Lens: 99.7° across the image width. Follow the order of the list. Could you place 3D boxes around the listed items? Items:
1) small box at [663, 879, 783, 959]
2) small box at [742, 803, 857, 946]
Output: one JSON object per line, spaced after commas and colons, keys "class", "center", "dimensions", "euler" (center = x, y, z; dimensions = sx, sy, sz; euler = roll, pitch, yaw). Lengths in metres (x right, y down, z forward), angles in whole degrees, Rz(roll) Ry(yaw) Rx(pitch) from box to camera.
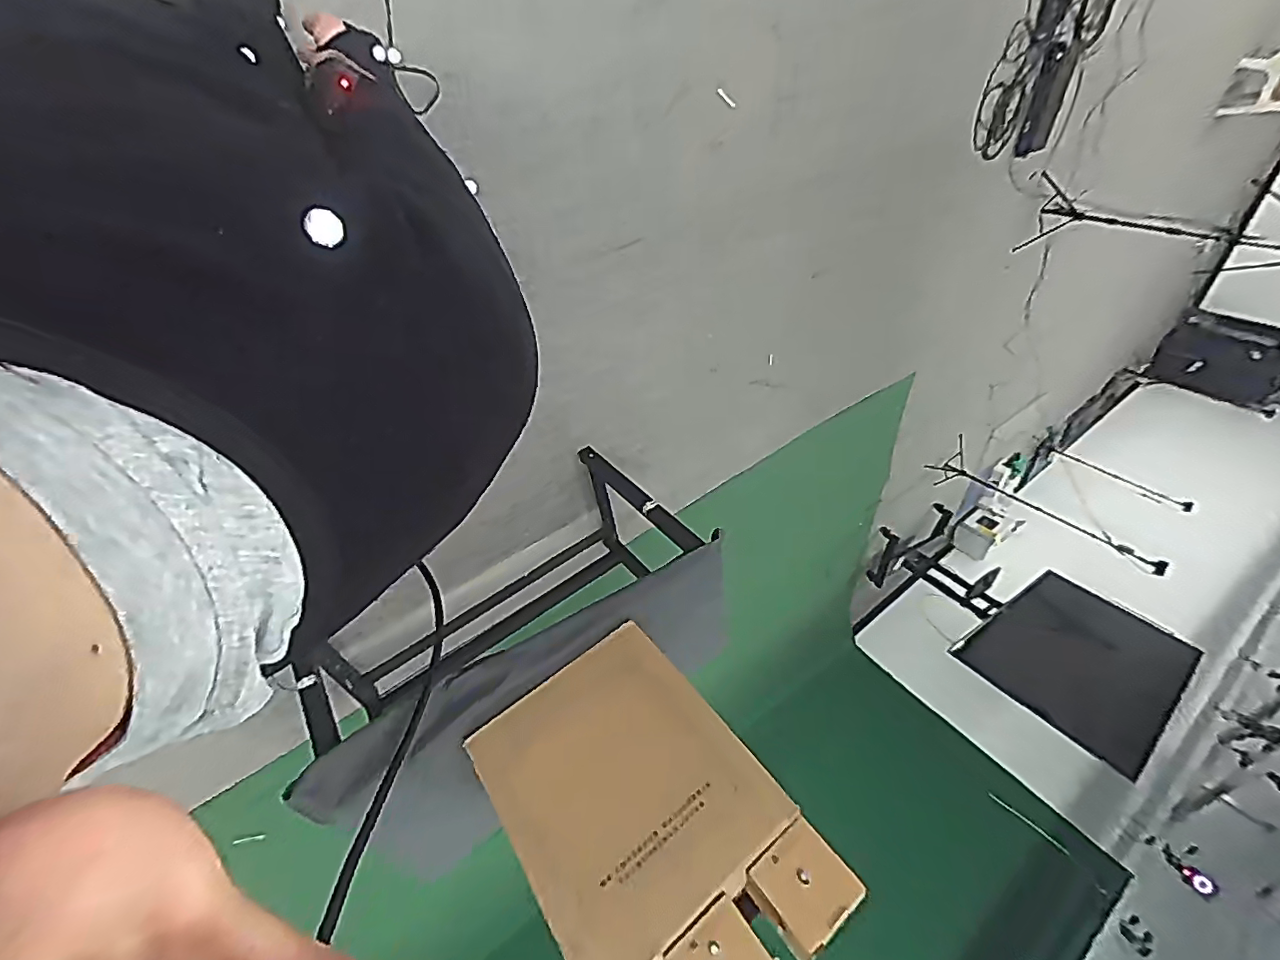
{"class": "small box", "center": [0.167, 0.938, 1.072], "dimensions": [0.168, 0.176, 0.179], "euler": [-35, 137, -18]}
{"class": "small box", "center": [0.335, 0.838, 1.160], "dimensions": [0.168, 0.176, 0.179], "euler": [-33, 137, -23]}
